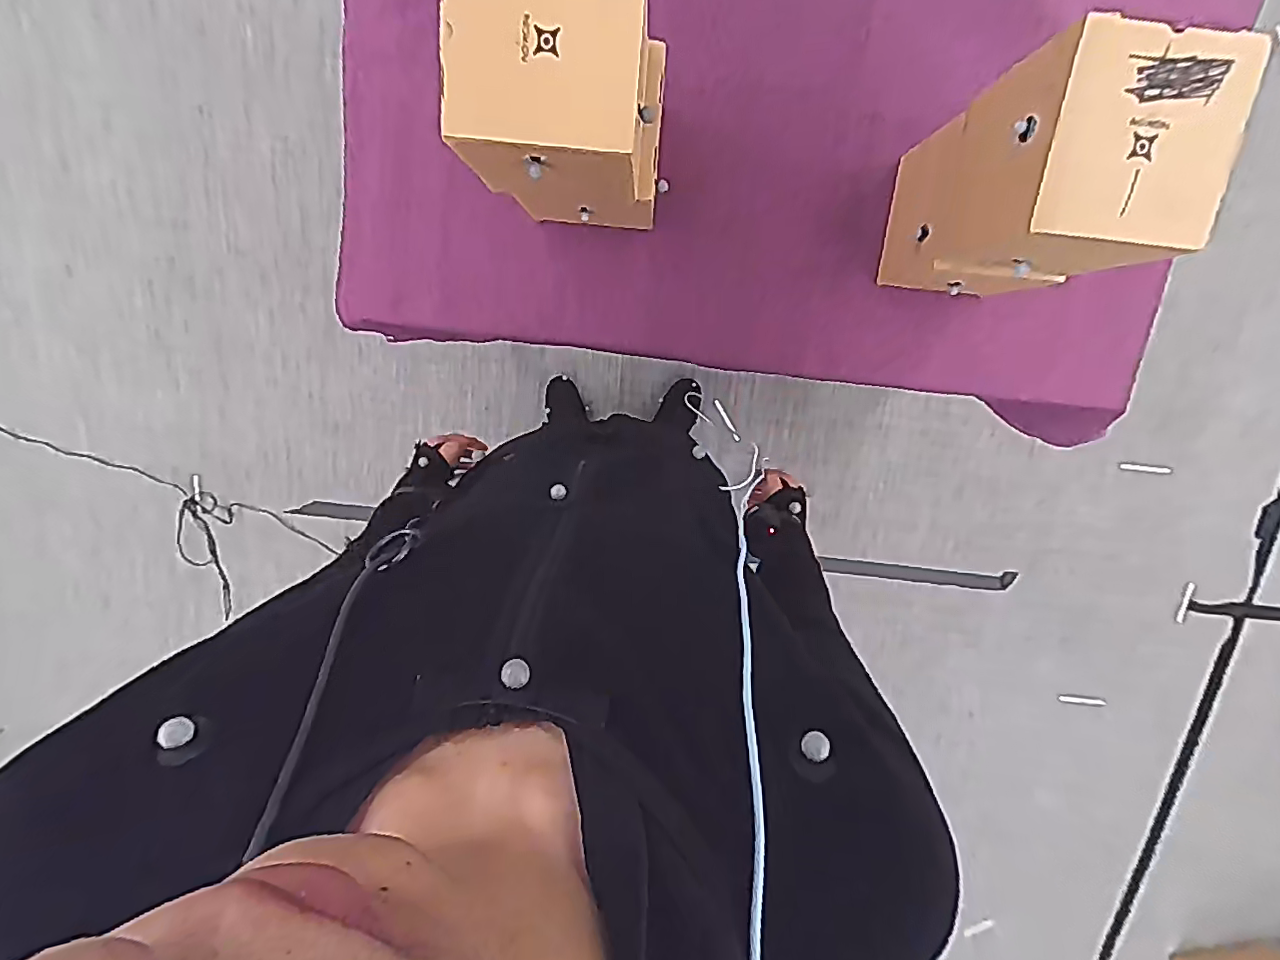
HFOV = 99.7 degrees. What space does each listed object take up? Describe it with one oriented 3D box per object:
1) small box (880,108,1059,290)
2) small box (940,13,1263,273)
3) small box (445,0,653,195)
[{"bbox_3d":[0.445,-0.356,0.722,0.168,0.176,0.179,6,104,-2],"label":"small box"},{"bbox_3d":[0.446,-0.325,0.560,0.168,0.176,0.179,7,105,-1],"label":"small box"},{"bbox_3d":[-0.080,-0.400,0.544,0.179,0.176,0.168,5,105,0],"label":"small box"}]
